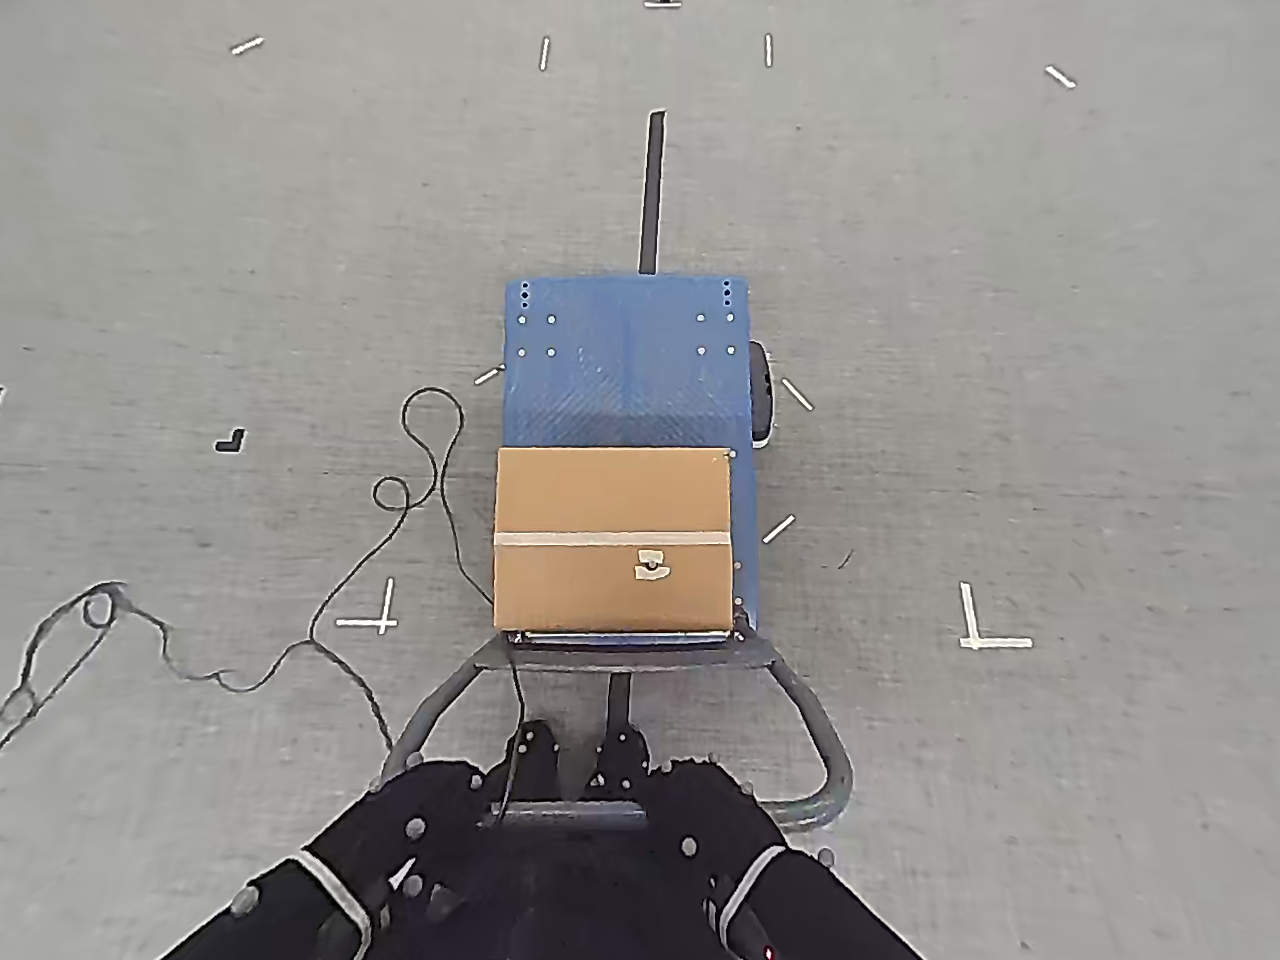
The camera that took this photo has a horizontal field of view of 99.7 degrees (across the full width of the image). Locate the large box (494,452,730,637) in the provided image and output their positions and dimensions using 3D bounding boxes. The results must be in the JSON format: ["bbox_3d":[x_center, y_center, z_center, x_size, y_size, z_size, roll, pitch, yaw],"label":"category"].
[{"bbox_3d":[-0.051,0.123,1.066,0.408,0.320,0.320,0,84,-1],"label":"large box"}]
